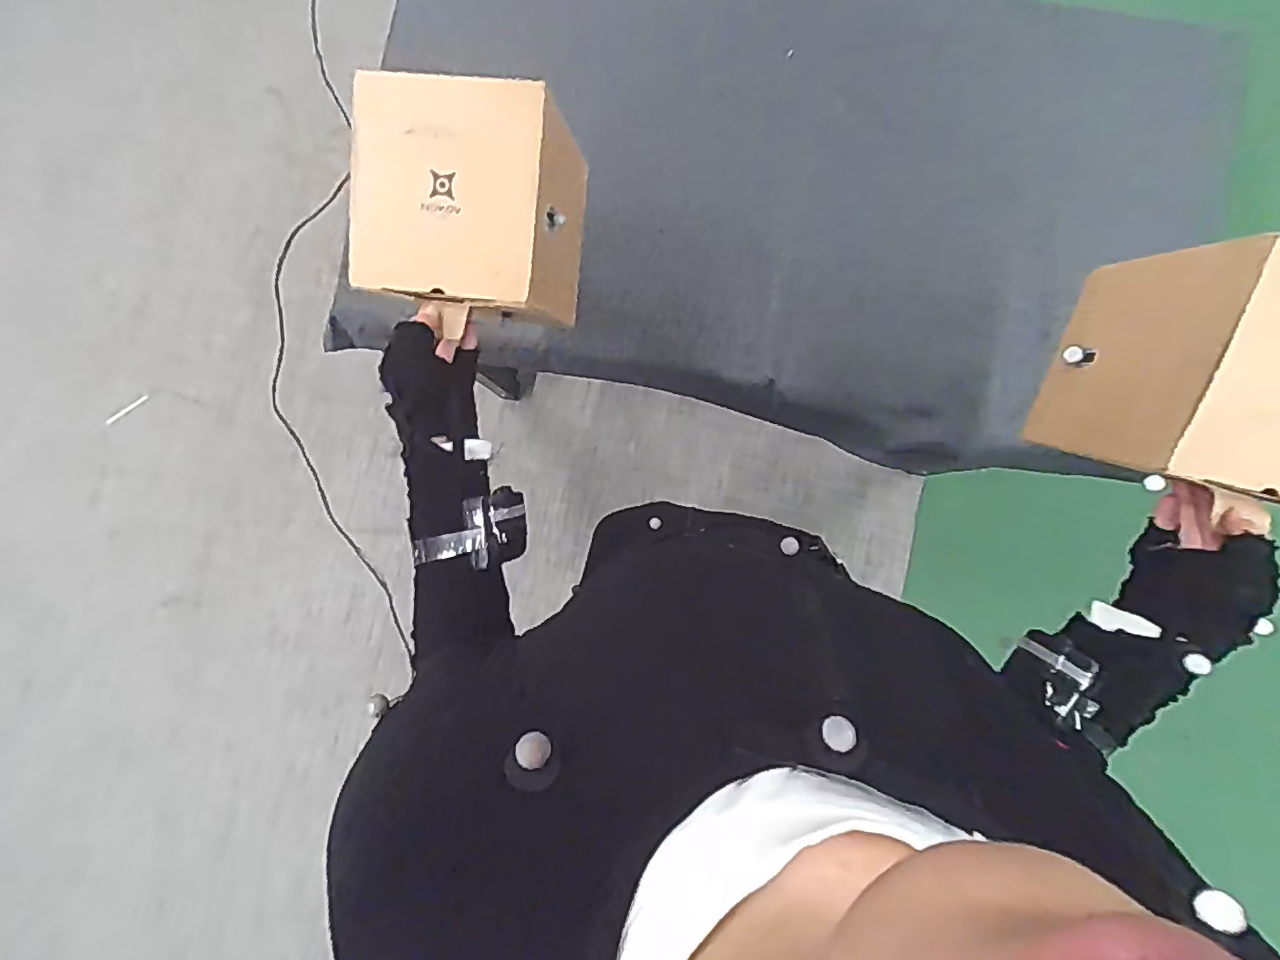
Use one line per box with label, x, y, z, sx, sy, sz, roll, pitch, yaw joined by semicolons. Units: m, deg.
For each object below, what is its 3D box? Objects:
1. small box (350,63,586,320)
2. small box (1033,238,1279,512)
small box;-0.154;-0.259;0.528;0.168;0.176;0.179;8;100;4
small box;0.492;-0.084;0.468;0.168;0.176;0.179;14;104;-1
